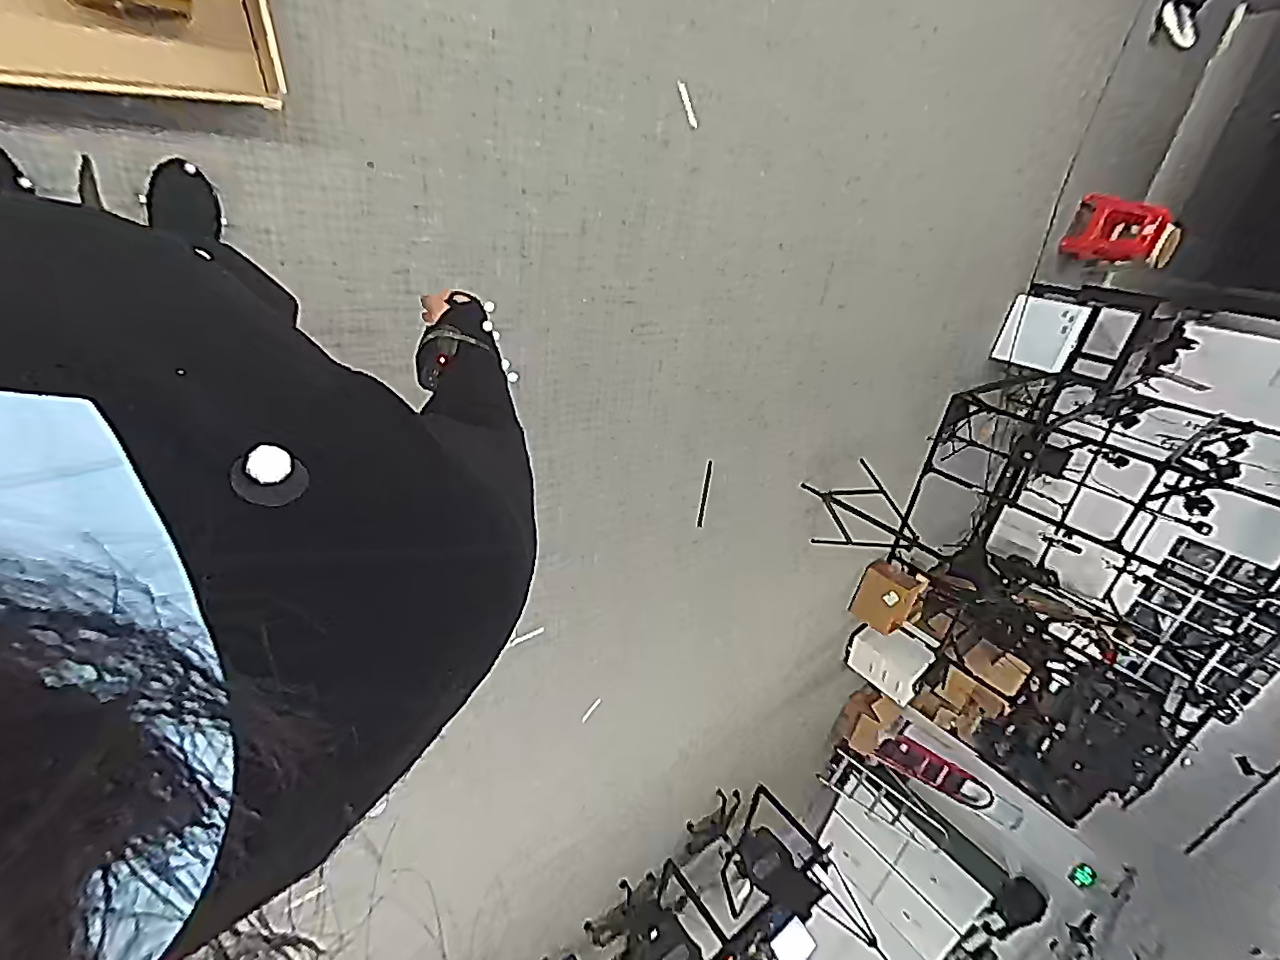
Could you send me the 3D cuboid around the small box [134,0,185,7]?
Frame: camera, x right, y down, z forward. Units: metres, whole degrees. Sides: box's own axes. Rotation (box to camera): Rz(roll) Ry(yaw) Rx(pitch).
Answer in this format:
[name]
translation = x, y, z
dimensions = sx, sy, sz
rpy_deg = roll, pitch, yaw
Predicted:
[small box]
translation = -0.789, -0.824, 0.782
dimensions = 0.168, 0.176, 0.179
rpy_deg = -19, 128, -33
